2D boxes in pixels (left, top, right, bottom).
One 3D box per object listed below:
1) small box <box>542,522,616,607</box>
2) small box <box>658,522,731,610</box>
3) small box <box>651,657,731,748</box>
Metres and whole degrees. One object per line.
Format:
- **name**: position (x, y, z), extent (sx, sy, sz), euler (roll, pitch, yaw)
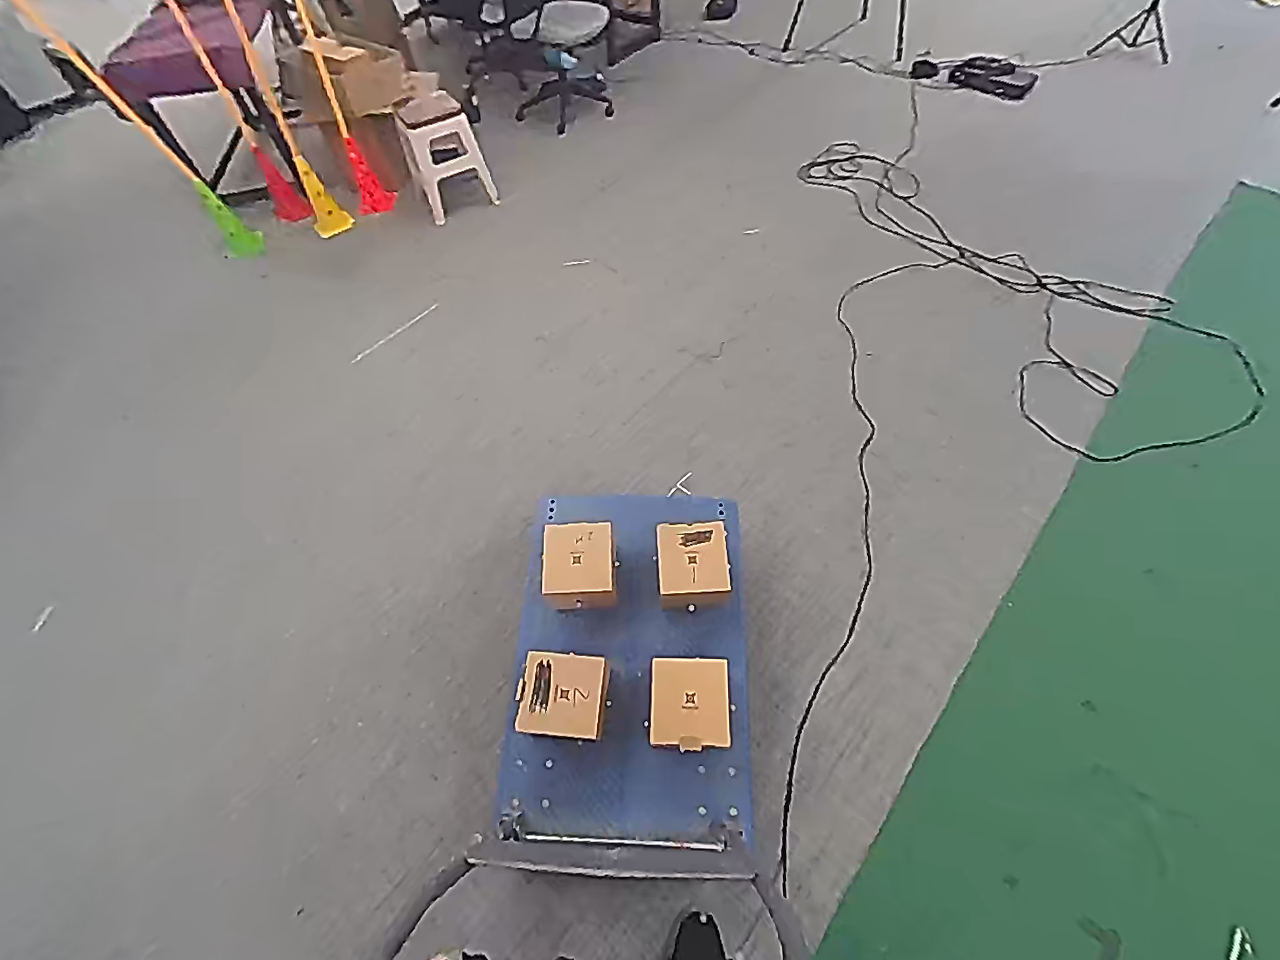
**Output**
- **small box**: position (-0.147, 0.219, 1.363), extent (0.168, 0.176, 0.179), euler (-2, 64, 0)
- **small box**: position (0.129, 0.218, 1.355), extent (0.168, 0.176, 0.179), euler (-3, 64, 1)
- **small box**: position (0.110, 0.504, 1.216), extent (0.168, 0.176, 0.179), euler (1, 64, 2)
